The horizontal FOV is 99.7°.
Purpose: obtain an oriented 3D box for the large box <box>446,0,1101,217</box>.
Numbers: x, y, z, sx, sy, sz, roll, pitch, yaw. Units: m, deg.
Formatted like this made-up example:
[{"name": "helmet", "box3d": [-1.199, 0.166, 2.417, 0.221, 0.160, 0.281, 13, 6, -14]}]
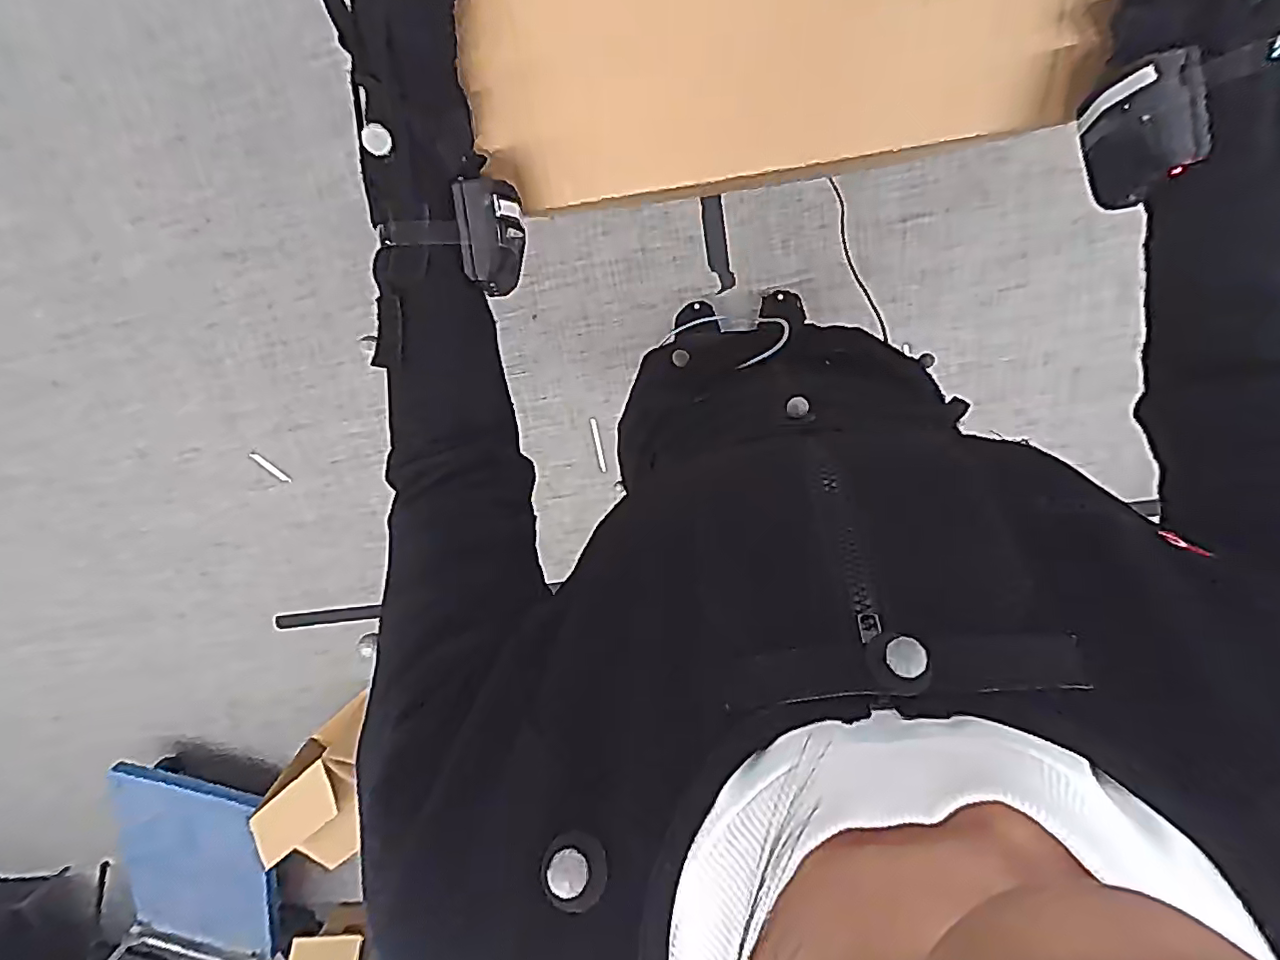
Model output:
[{"name": "large box", "box3d": [0.074, -0.419, 0.441, 0.408, 0.320, 0.320, -6, 116, 7]}]
